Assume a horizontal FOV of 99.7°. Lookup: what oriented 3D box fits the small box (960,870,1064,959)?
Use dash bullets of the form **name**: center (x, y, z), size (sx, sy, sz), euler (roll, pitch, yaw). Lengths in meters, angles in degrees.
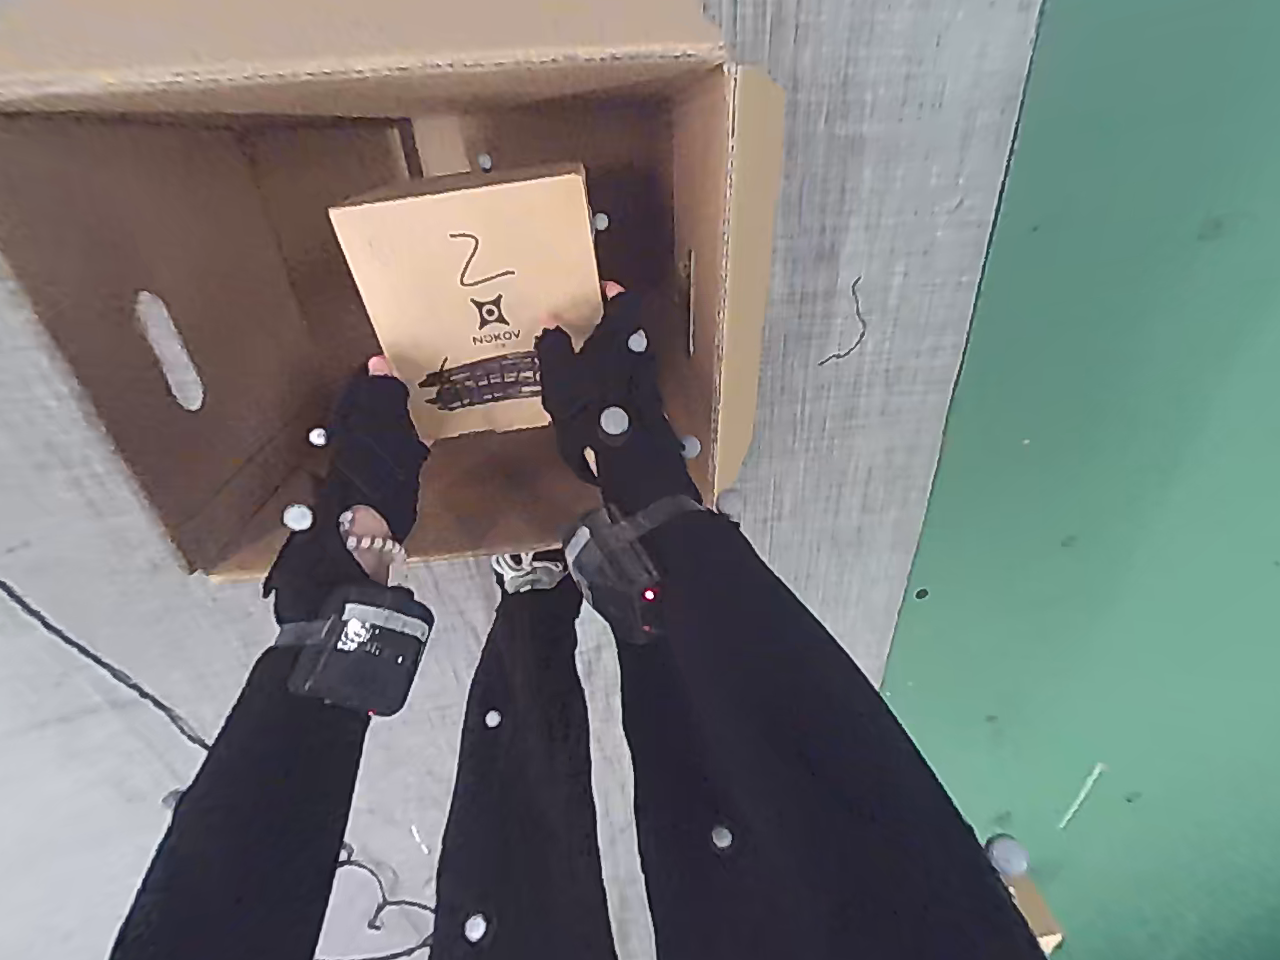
- **small box**: center (1.087, 1.294, 1.599), size (0.168, 0.176, 0.179), euler (-6, 121, -5)
